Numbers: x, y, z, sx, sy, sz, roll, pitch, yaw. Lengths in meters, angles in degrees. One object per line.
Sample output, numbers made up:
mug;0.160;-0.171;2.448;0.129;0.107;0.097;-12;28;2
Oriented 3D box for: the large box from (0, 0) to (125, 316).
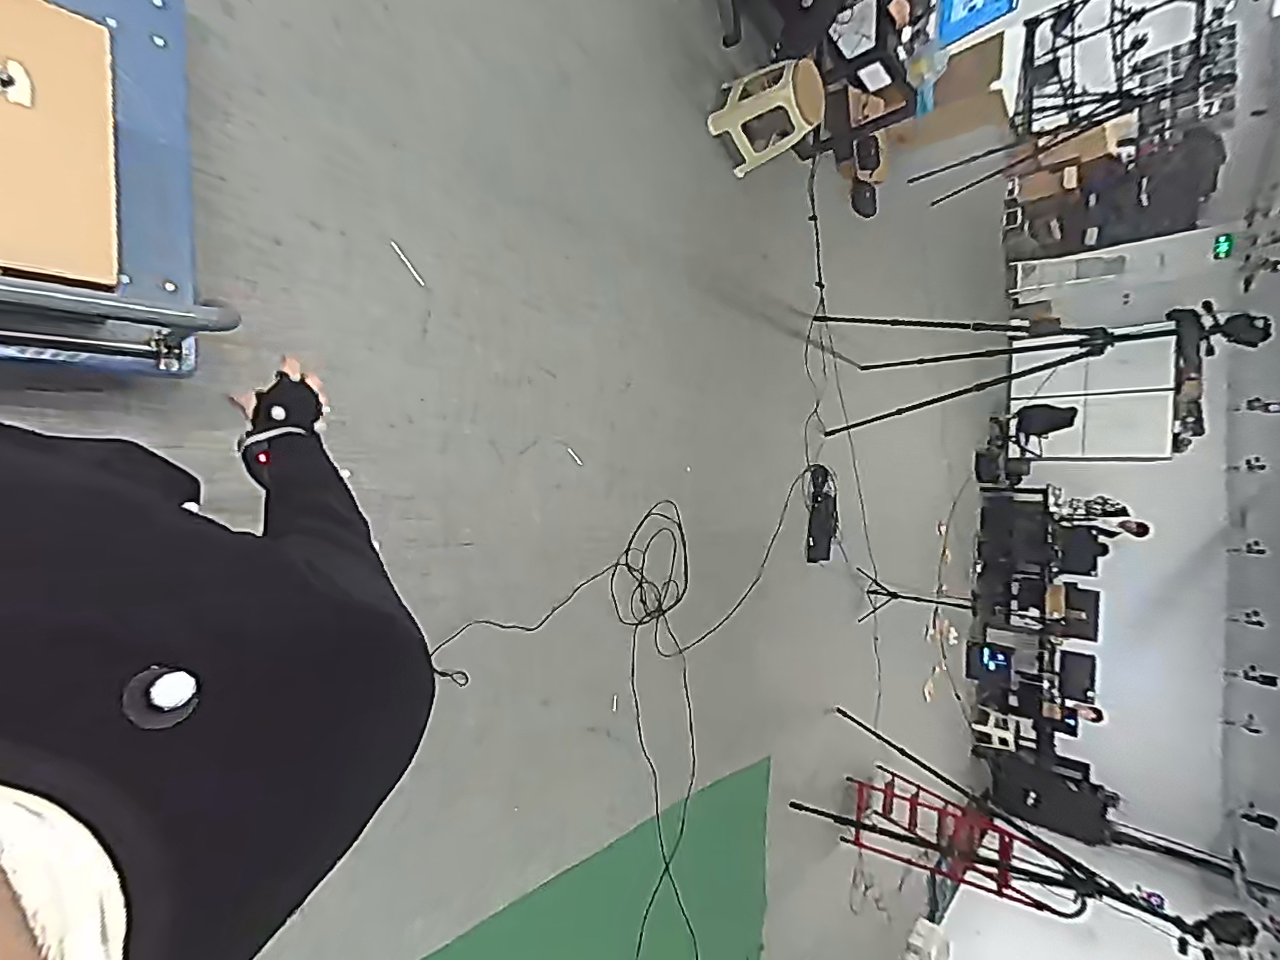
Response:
large box;-1.041;-0.508;0.849;0.320;0.320;0.408;-3;92;-46
